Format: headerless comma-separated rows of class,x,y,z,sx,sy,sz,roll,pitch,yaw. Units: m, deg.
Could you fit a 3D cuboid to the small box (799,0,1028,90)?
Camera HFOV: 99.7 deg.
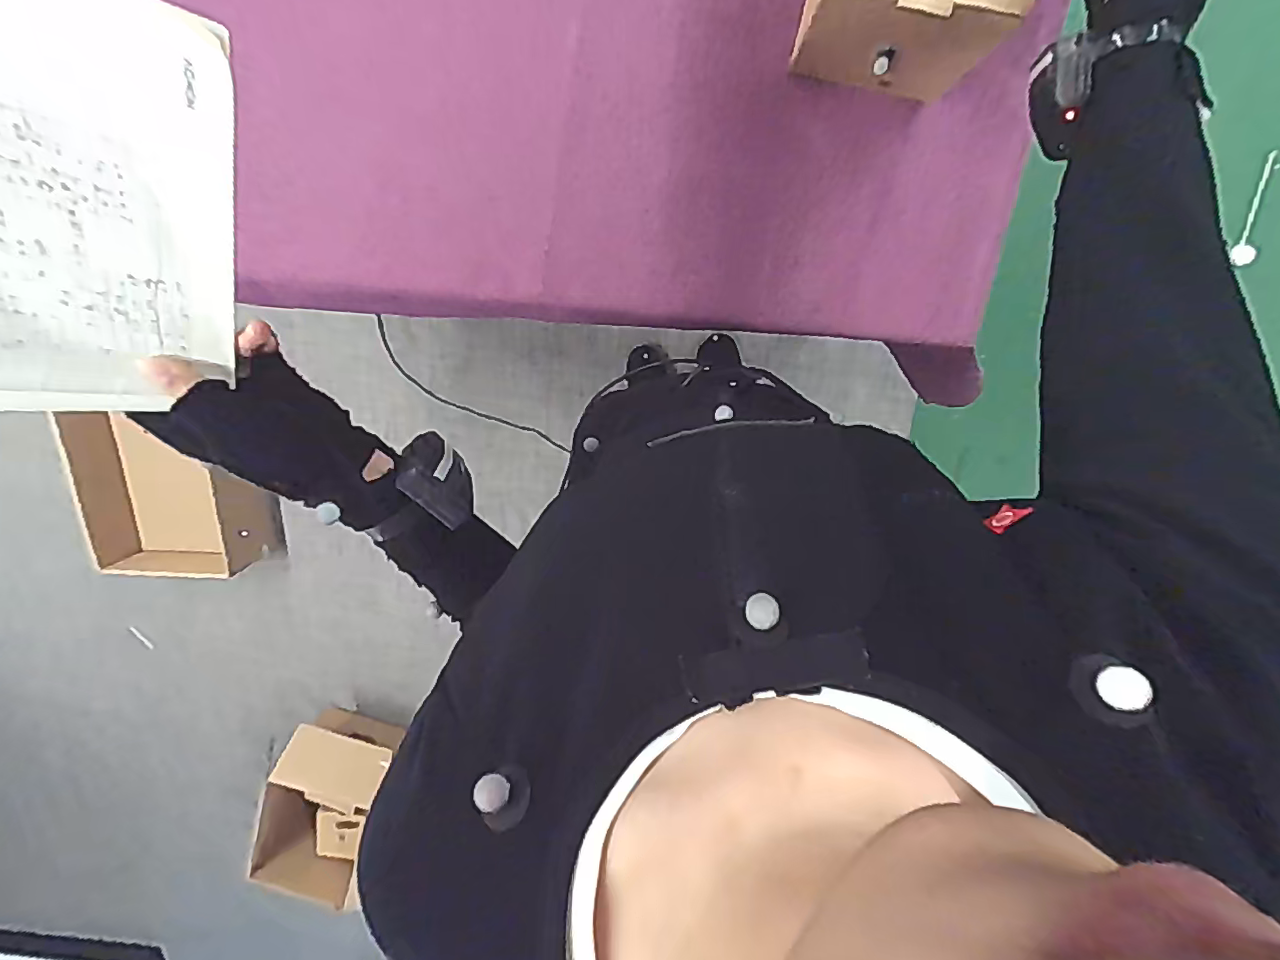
small box,0.255,-0.493,0.489,0.168,0.176,0.179,13,108,0
